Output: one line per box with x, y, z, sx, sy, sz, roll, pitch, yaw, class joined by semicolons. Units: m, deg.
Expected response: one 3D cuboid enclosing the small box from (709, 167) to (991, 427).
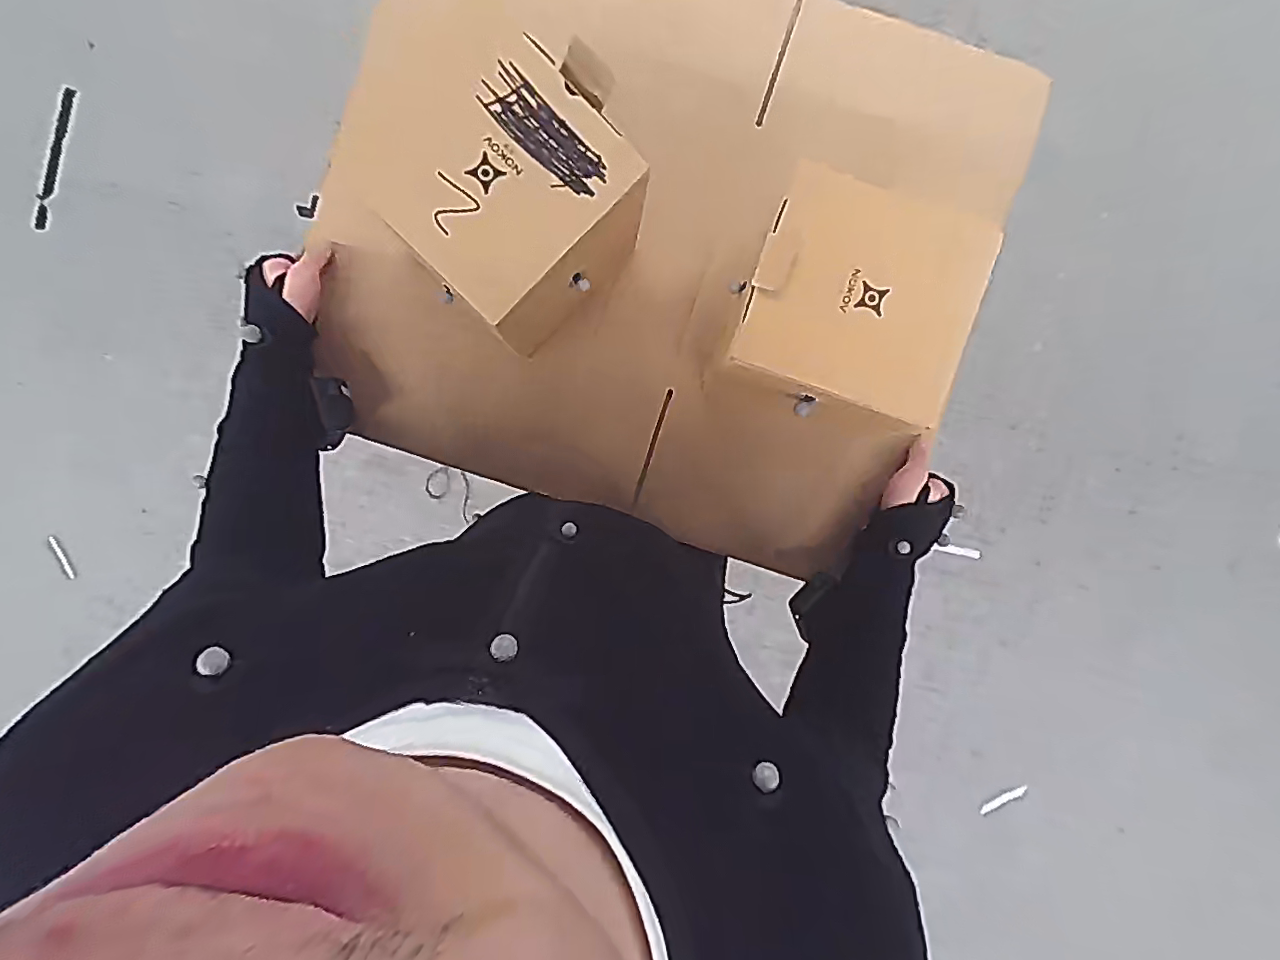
0.182;-0.155;0.524;0.179;0.176;0.168;19;91;0;small box
